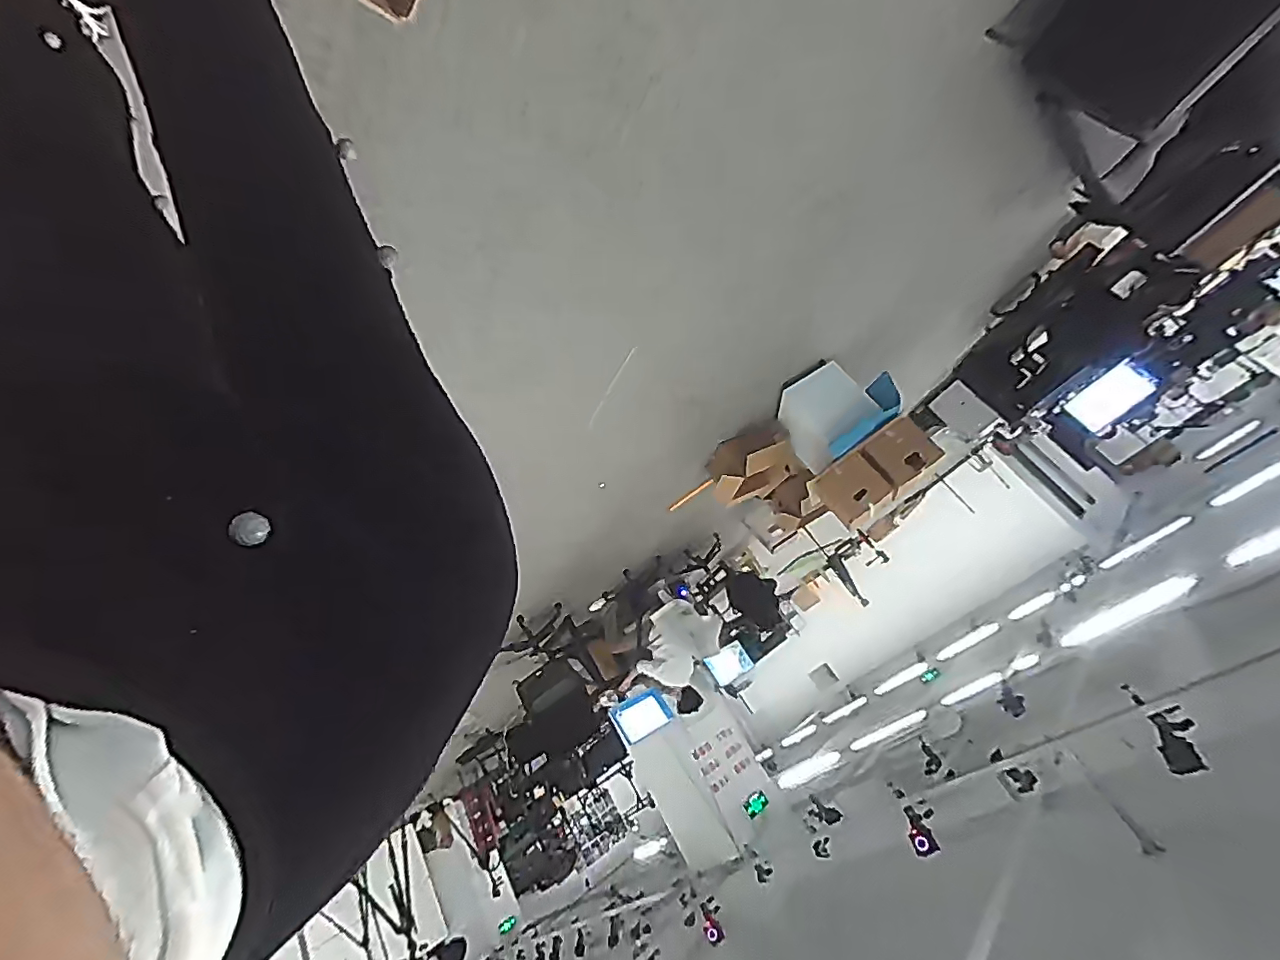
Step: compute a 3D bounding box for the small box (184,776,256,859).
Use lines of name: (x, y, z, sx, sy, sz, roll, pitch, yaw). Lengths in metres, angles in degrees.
small box: (-1.454, 1.158, 1.867, 0.168, 0.176, 0.179, -8, 146, -46)
